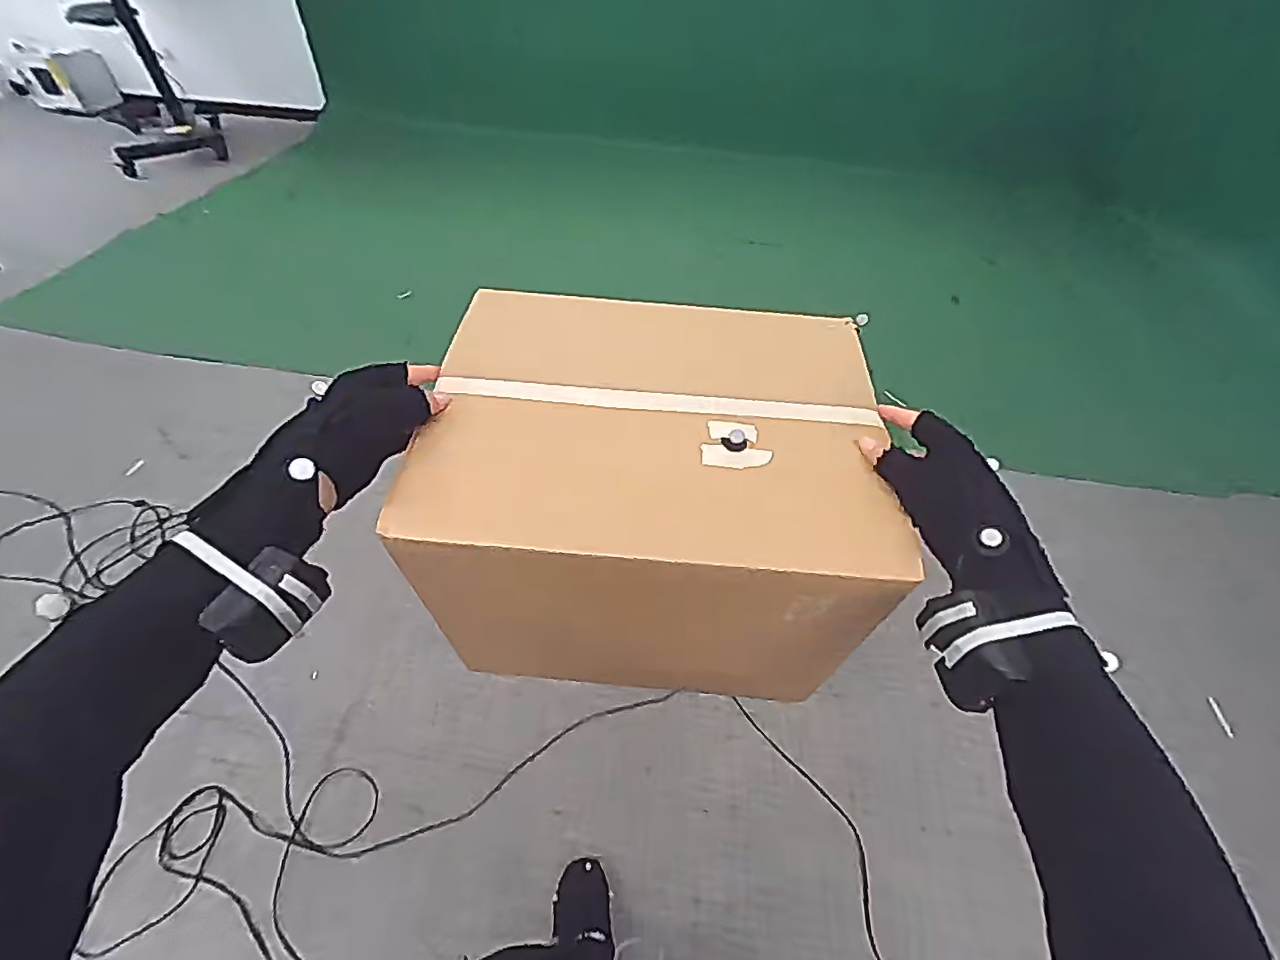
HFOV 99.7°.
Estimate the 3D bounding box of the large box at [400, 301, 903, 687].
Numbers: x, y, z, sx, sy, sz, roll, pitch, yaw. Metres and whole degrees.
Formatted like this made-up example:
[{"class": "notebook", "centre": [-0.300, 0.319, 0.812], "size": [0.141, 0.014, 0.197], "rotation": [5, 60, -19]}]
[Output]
[{"class": "large box", "centre": [0.009, 0.026, 0.626], "size": [0.408, 0.320, 0.320], "rotation": [5, 53, 0]}]
